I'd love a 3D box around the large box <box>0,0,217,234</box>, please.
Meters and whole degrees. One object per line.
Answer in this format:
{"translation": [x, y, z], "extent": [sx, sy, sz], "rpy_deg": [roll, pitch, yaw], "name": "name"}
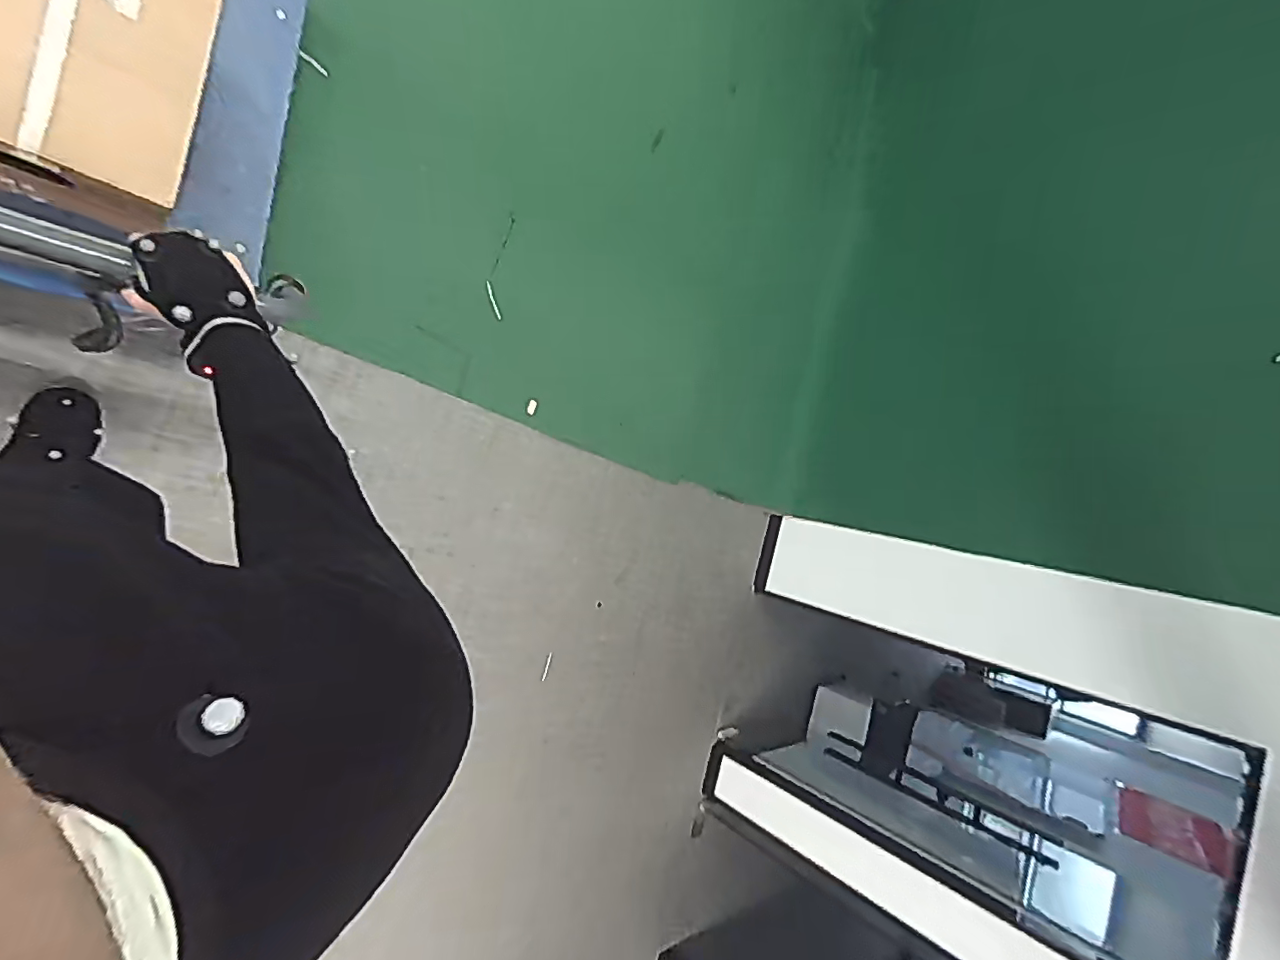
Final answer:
{"translation": [-0.904, -0.671, 0.846], "extent": [0.320, 0.320, 0.408], "rpy_deg": [13, 88, -46], "name": "large box"}
